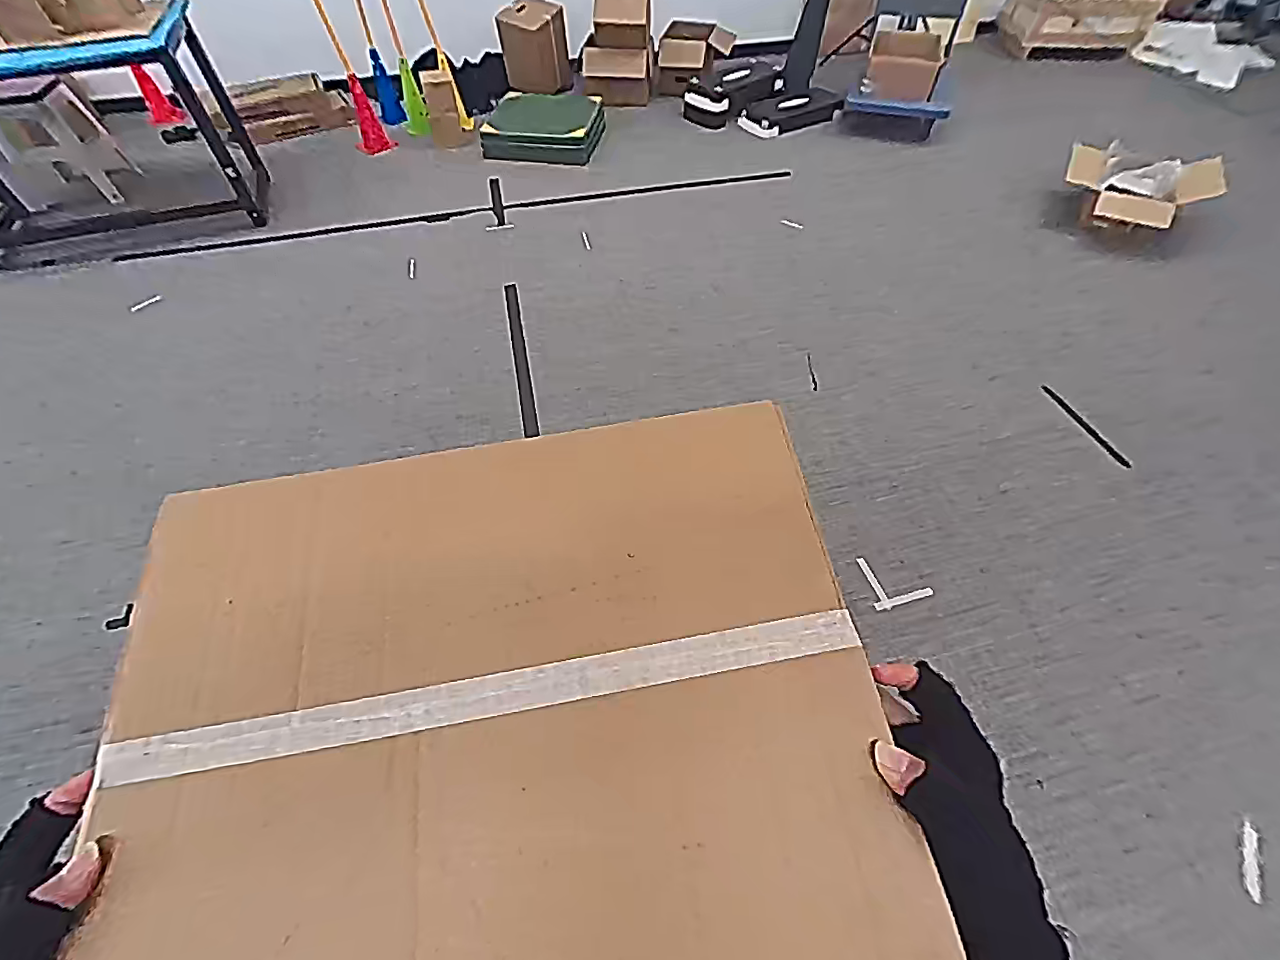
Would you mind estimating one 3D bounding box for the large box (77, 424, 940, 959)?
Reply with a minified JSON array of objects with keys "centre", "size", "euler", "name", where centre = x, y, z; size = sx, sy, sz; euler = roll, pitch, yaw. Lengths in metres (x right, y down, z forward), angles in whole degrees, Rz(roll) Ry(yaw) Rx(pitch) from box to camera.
[{"centre":[-0.075,0.192,0.433],"size":[0.408,0.320,0.320],"euler":[-9,63,-3],"name":"large box"}]
